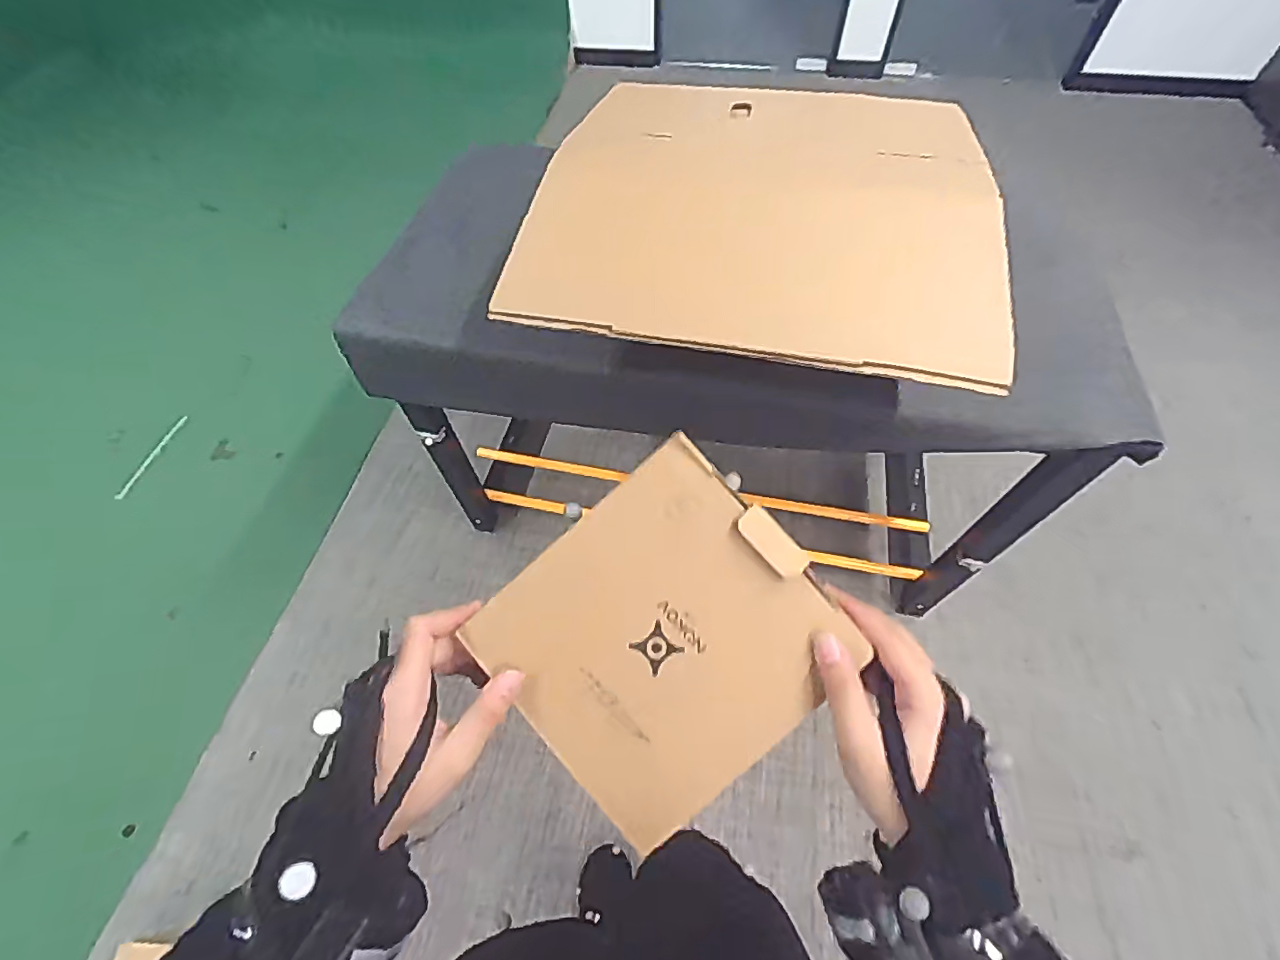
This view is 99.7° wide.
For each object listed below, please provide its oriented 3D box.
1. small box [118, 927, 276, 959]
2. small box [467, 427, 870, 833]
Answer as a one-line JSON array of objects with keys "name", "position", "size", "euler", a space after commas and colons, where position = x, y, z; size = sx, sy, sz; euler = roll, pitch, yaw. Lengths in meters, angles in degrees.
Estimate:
[{"name": "small box", "position": [-0.777, 0.887, 0.927], "size": [0.179, 0.176, 0.168], "euler": [0, 57, 3]}, {"name": "small box", "position": [0.018, 0.086, 0.388], "size": [0.179, 0.176, 0.168], "euler": [-43, 86, 2]}]
